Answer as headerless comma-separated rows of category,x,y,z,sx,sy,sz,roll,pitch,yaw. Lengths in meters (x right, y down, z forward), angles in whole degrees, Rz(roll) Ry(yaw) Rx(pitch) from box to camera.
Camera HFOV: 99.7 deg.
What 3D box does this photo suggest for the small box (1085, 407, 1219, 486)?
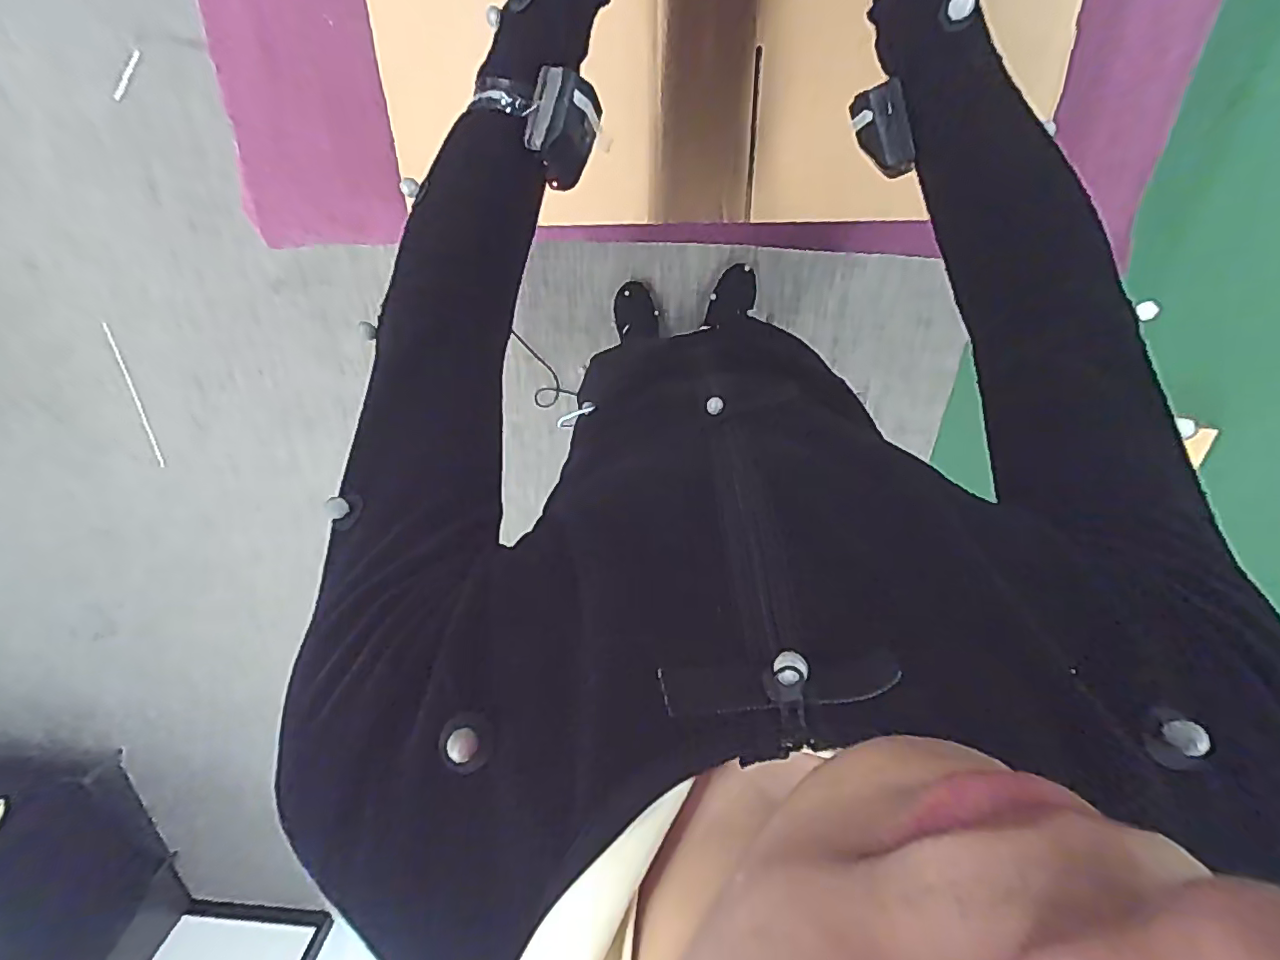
small box,1.401,-0.096,1.495,0.179,0.176,0.168,4,115,2
